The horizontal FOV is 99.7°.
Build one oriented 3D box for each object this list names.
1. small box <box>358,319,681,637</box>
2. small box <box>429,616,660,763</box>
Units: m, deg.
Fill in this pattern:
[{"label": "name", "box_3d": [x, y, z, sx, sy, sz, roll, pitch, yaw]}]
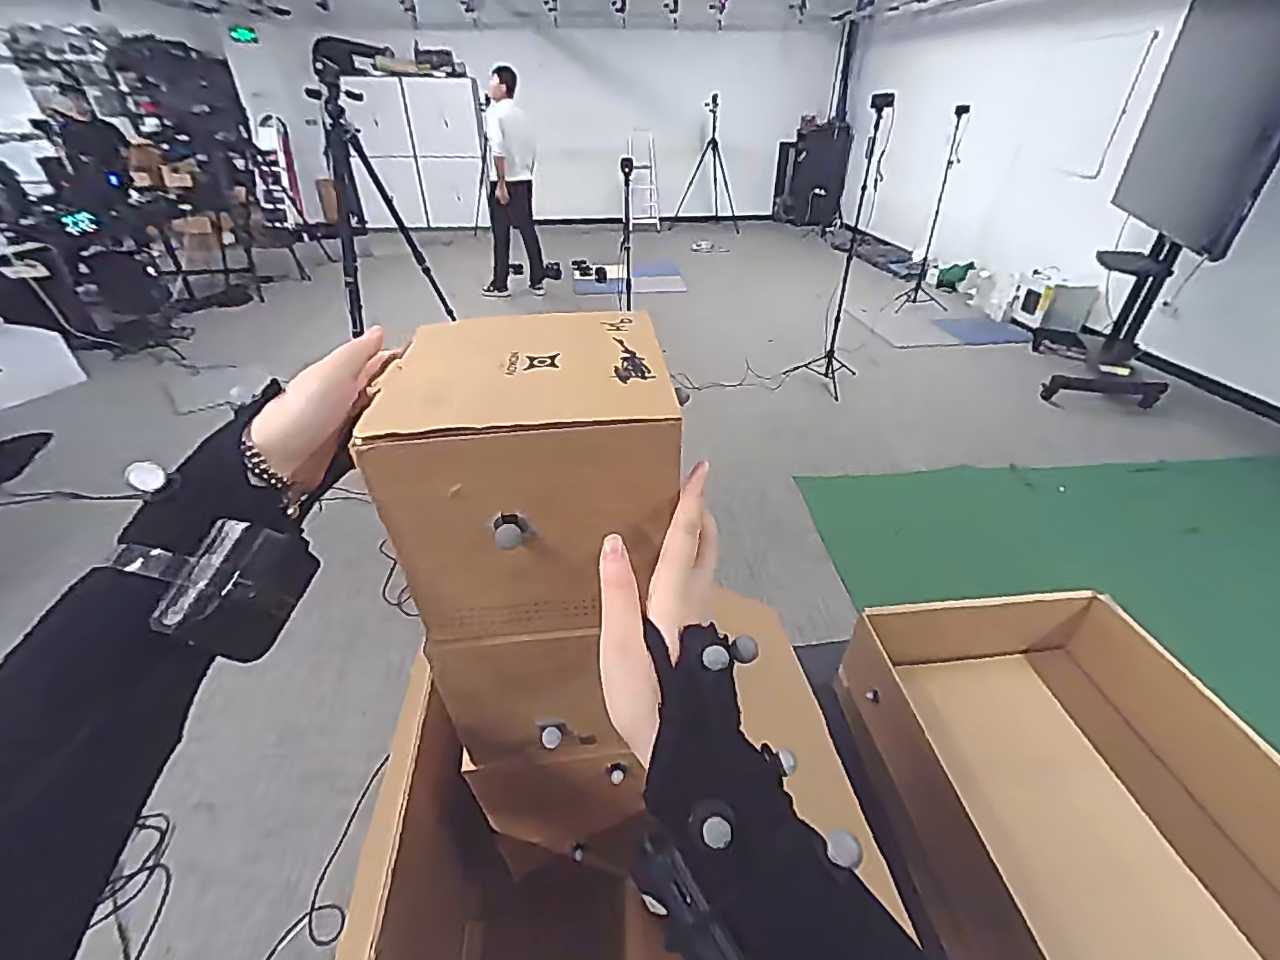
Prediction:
[{"label": "small box", "box_3d": [-0.067, -0.003, 0.398, 0.179, 0.176, 0.168, -5, 38, -3]}, {"label": "small box", "box_3d": [-0.074, 0.128, 0.496, 0.168, 0.176, 0.179, -4, 38, -4]}]
